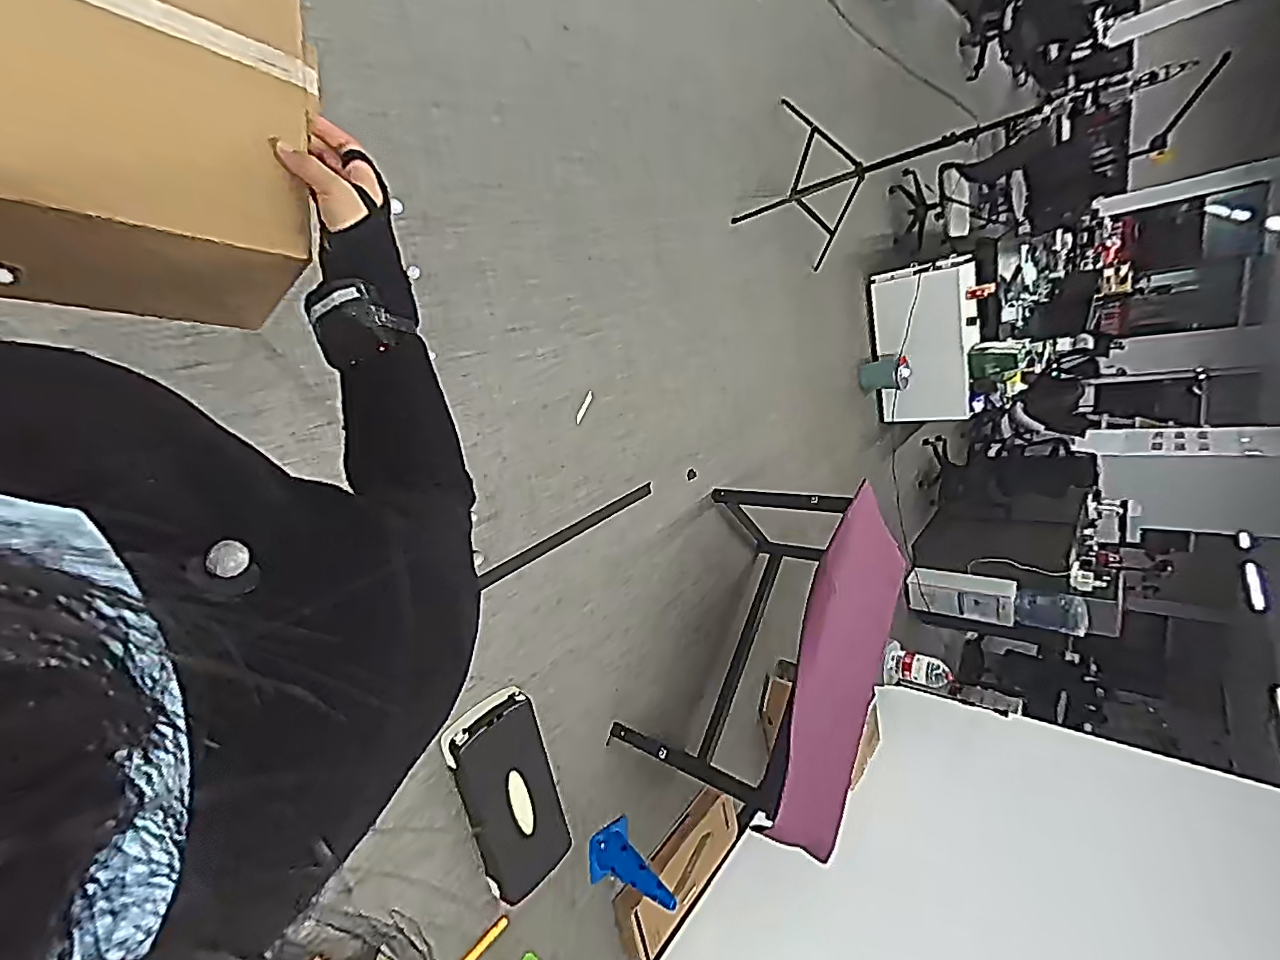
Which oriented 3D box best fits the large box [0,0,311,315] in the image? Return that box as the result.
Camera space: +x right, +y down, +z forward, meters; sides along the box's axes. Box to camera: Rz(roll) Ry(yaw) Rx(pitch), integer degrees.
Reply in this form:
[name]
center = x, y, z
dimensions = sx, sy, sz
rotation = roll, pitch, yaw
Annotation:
[large box]
center = -0.543, -0.349, 0.458
dimensions = 0.408, 0.320, 0.320
rotation = -3, 91, -41
